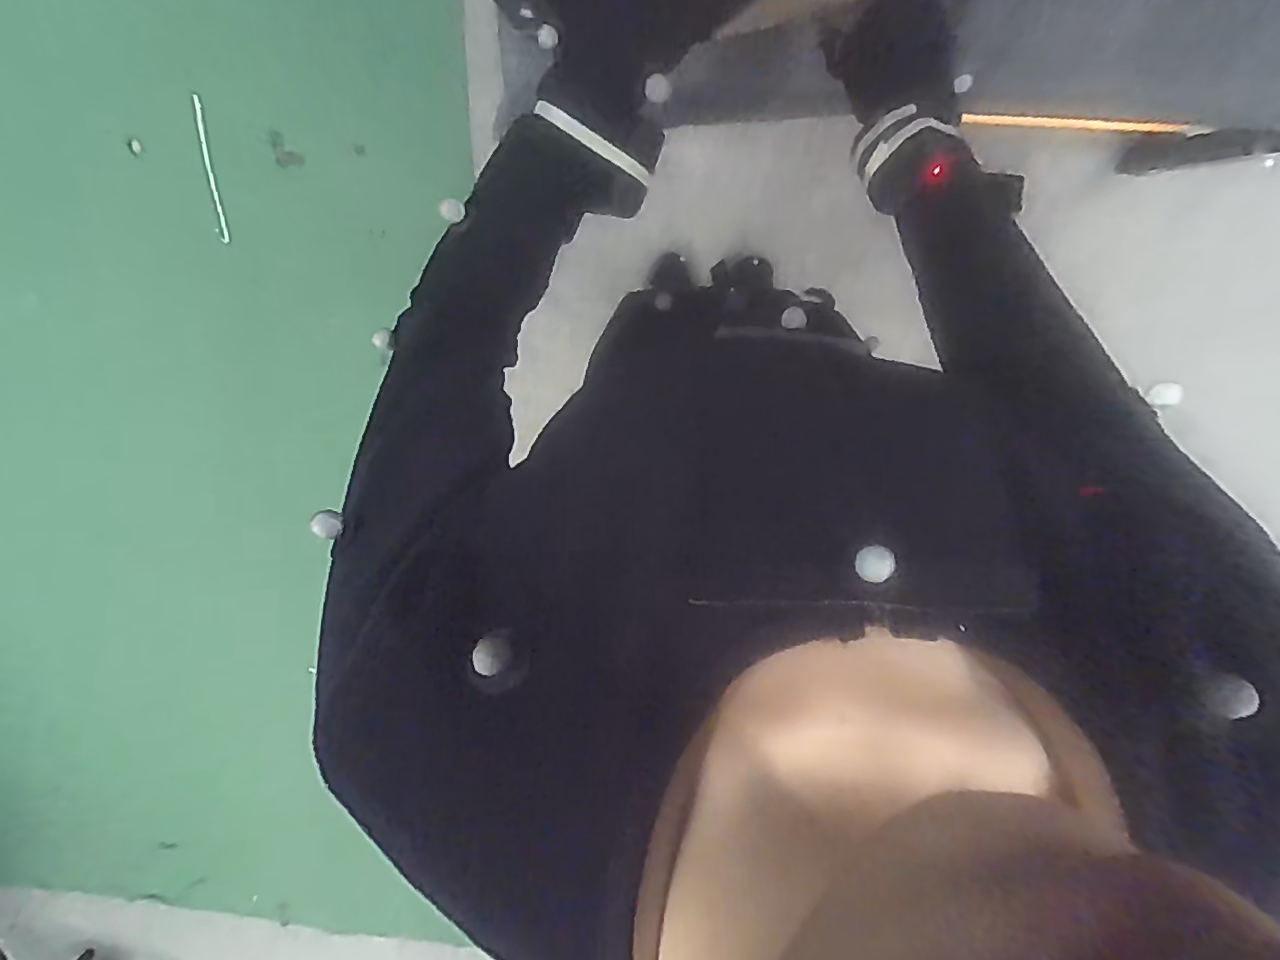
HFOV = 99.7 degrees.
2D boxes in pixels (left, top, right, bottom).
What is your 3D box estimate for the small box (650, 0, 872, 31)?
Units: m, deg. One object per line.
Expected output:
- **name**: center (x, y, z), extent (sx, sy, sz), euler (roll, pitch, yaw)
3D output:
- **small box**: center (0.081, -0.468, 0.390), extent (0.176, 0.168, 0.179), euler (28, 122, 40)
